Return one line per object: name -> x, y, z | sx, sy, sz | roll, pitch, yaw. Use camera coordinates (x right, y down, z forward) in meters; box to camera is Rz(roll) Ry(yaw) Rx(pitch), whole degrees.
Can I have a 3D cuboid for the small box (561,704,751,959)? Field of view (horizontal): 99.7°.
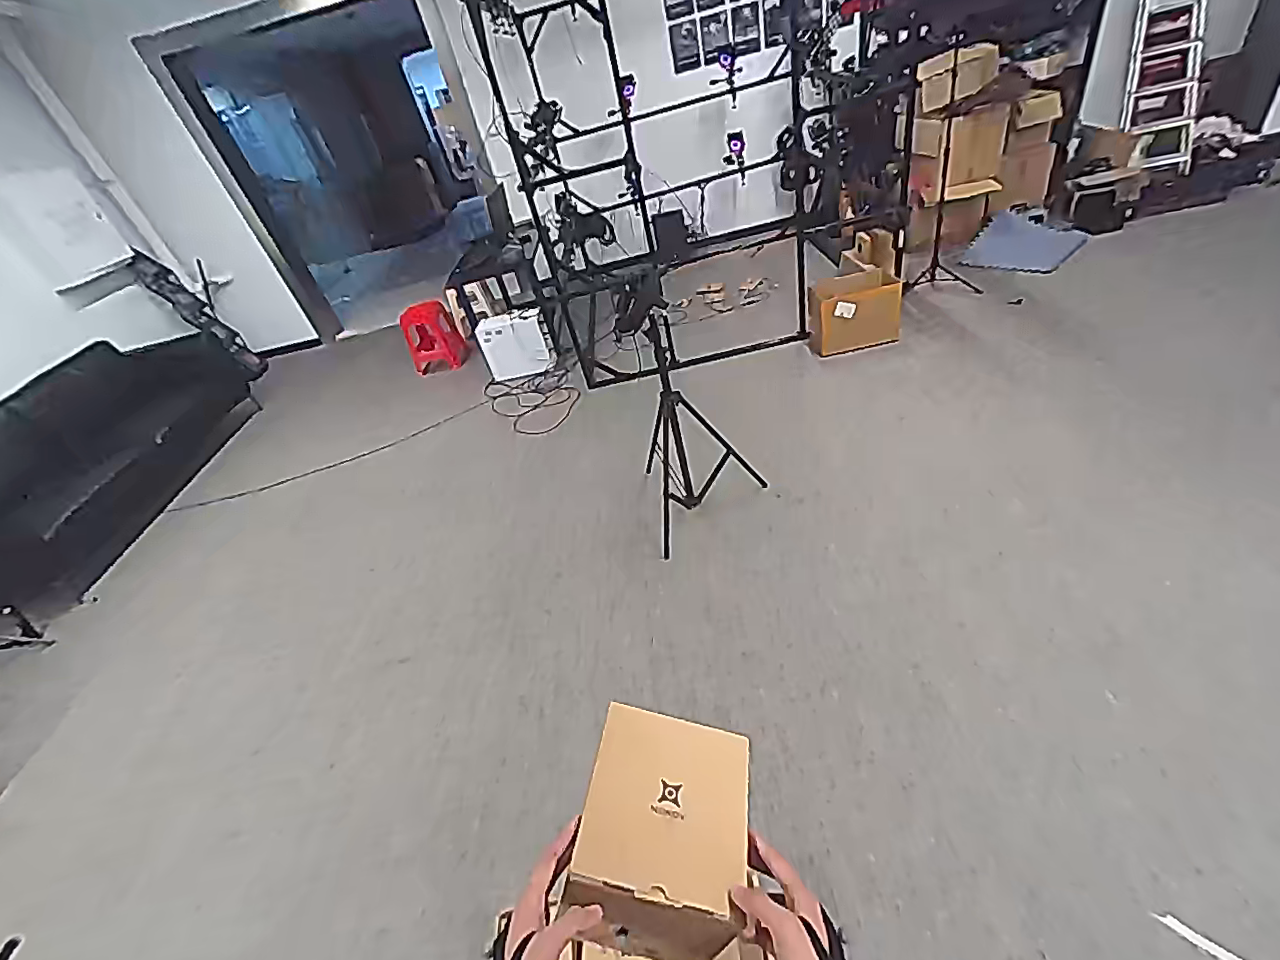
small box -> 0.017, 0.385, 0.589 | 0.168, 0.176, 0.179 | 14, 36, 2
